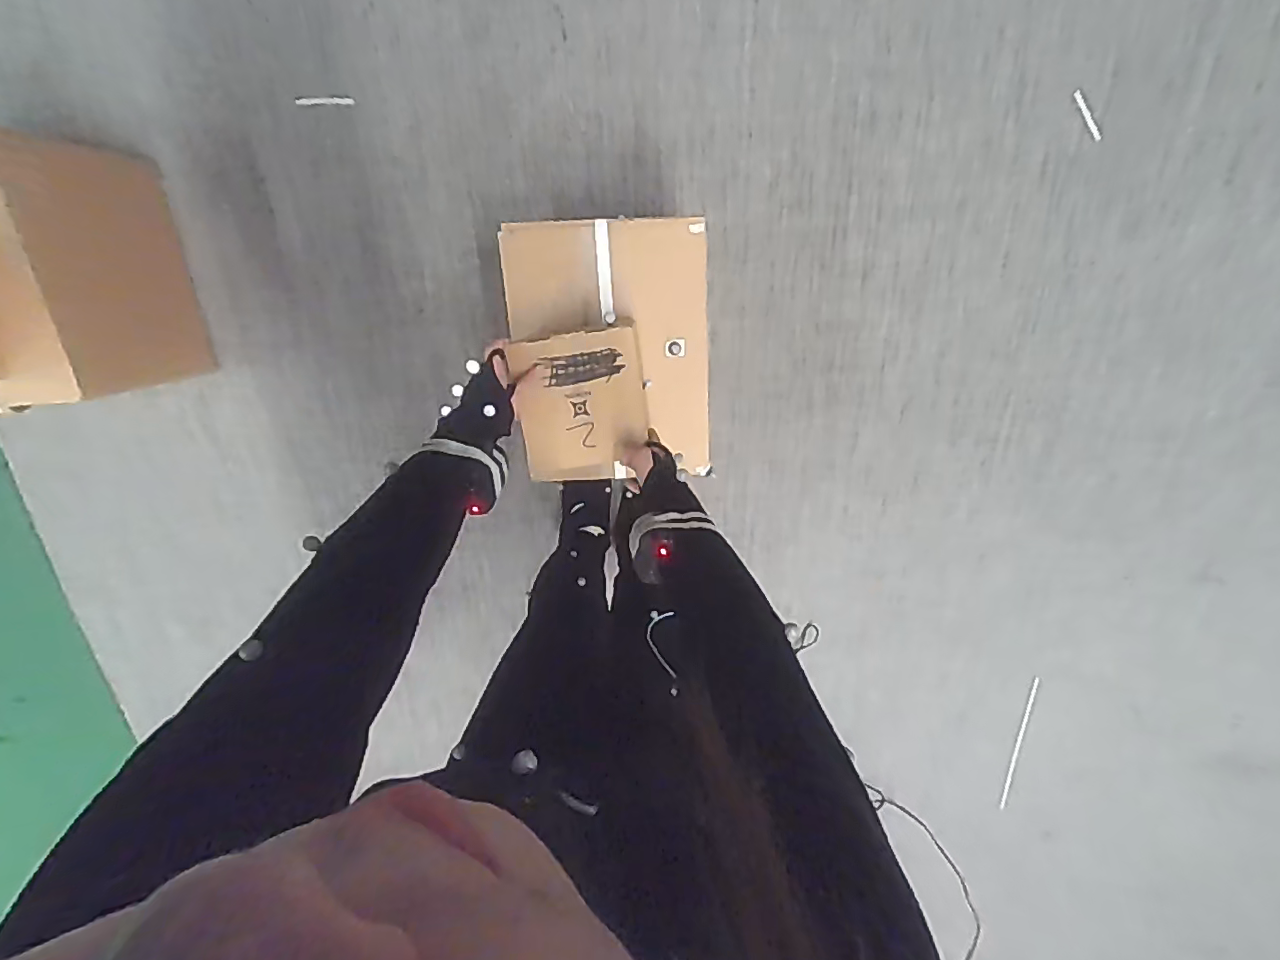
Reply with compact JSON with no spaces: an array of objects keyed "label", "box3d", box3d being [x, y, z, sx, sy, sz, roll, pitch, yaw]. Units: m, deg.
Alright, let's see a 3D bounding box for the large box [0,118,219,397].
[{"label":"large box","box3d":[-1.061,-0.371,0.959,0.320,0.320,0.408,-2,110,1]}]
